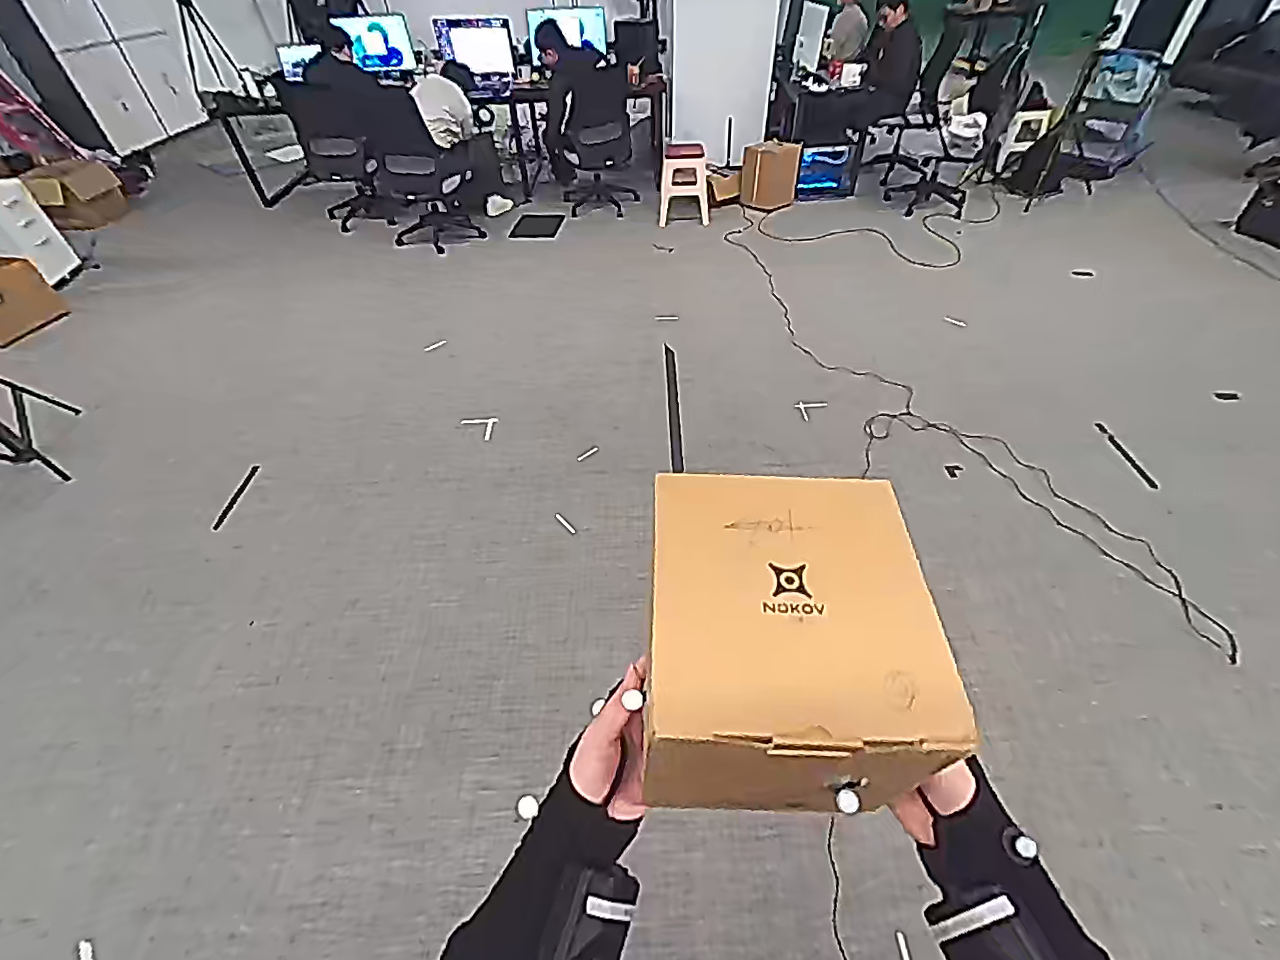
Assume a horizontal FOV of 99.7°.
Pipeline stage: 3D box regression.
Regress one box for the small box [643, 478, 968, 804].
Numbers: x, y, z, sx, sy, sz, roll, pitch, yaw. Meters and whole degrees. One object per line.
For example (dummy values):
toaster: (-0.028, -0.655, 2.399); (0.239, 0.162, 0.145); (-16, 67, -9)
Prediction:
small box: (0.089, 0.120, 0.391); (0.168, 0.176, 0.179); (2, 48, -1)
